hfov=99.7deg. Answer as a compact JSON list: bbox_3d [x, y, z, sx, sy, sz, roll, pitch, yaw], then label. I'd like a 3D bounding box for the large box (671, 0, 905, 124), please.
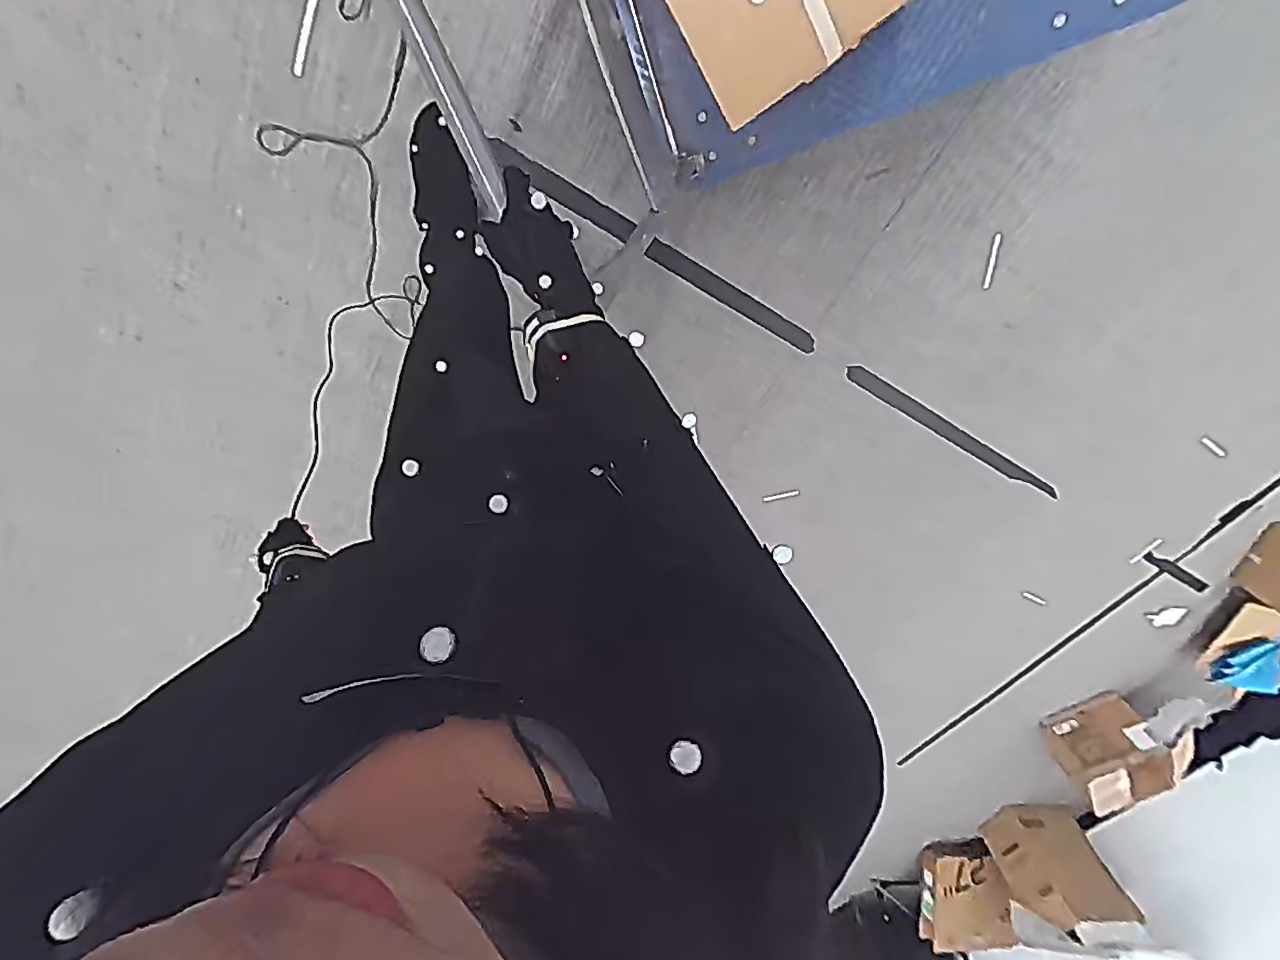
[{"bbox_3d":[0.174,-0.806,0.742,0.320,0.320,0.408,-23,123,31],"label":"large box"}]
